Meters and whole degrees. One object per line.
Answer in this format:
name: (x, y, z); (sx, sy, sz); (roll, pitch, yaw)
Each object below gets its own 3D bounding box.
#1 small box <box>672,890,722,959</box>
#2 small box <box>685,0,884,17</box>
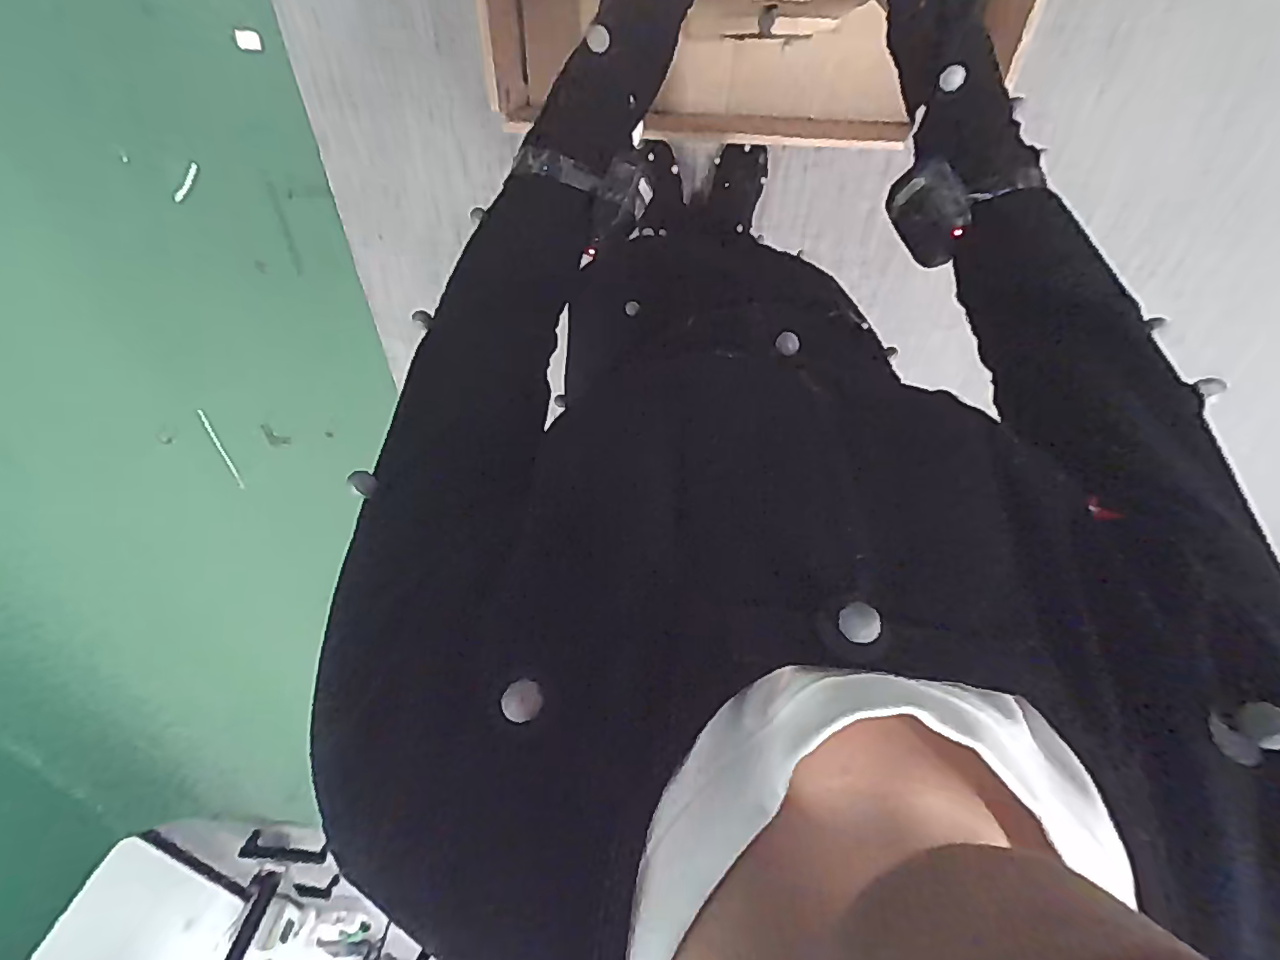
small box: (0.210, 1.638, 1.990); (0.179, 0.176, 0.168); (0, 128, 7)
small box: (0.119, -0.485, 0.425); (0.168, 0.176, 0.179); (3, 126, 3)
